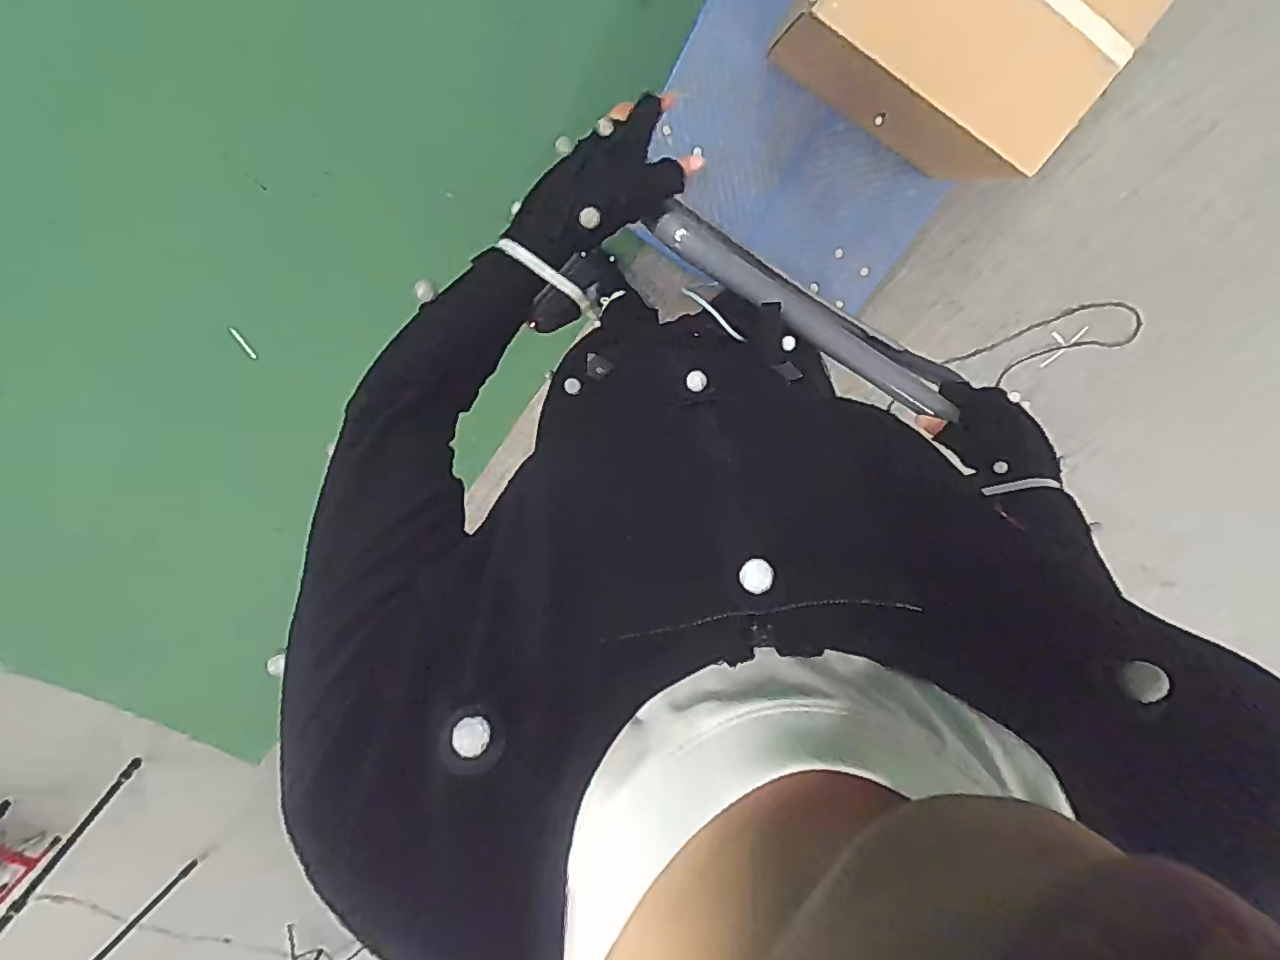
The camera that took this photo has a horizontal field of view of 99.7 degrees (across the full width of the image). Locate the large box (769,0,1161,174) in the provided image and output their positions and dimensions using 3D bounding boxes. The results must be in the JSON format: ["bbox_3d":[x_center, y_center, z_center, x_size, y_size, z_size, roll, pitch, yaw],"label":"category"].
[{"bbox_3d":[0.464,-0.714,0.813,0.408,0.320,0.320,27,116,-11],"label":"large box"}]
